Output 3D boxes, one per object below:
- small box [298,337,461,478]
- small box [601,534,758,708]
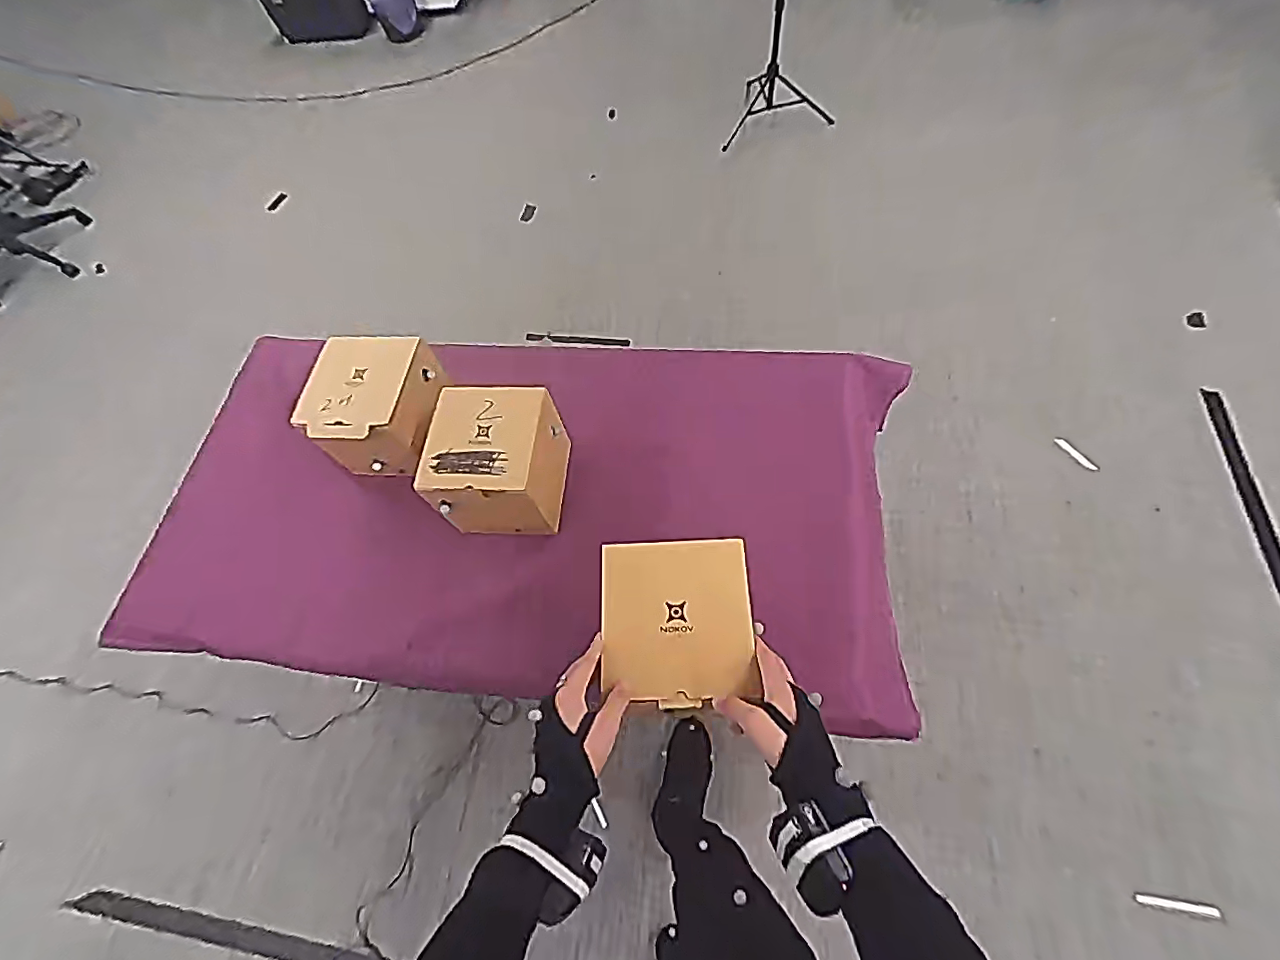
[{"bbox_3d":[-0.426,-0.120,0.921,0.168,0.176,0.179,2,64,9],"label":"small box"},{"bbox_3d":[0.044,0.179,0.665,0.168,0.176,0.179,-3,63,3],"label":"small box"}]
